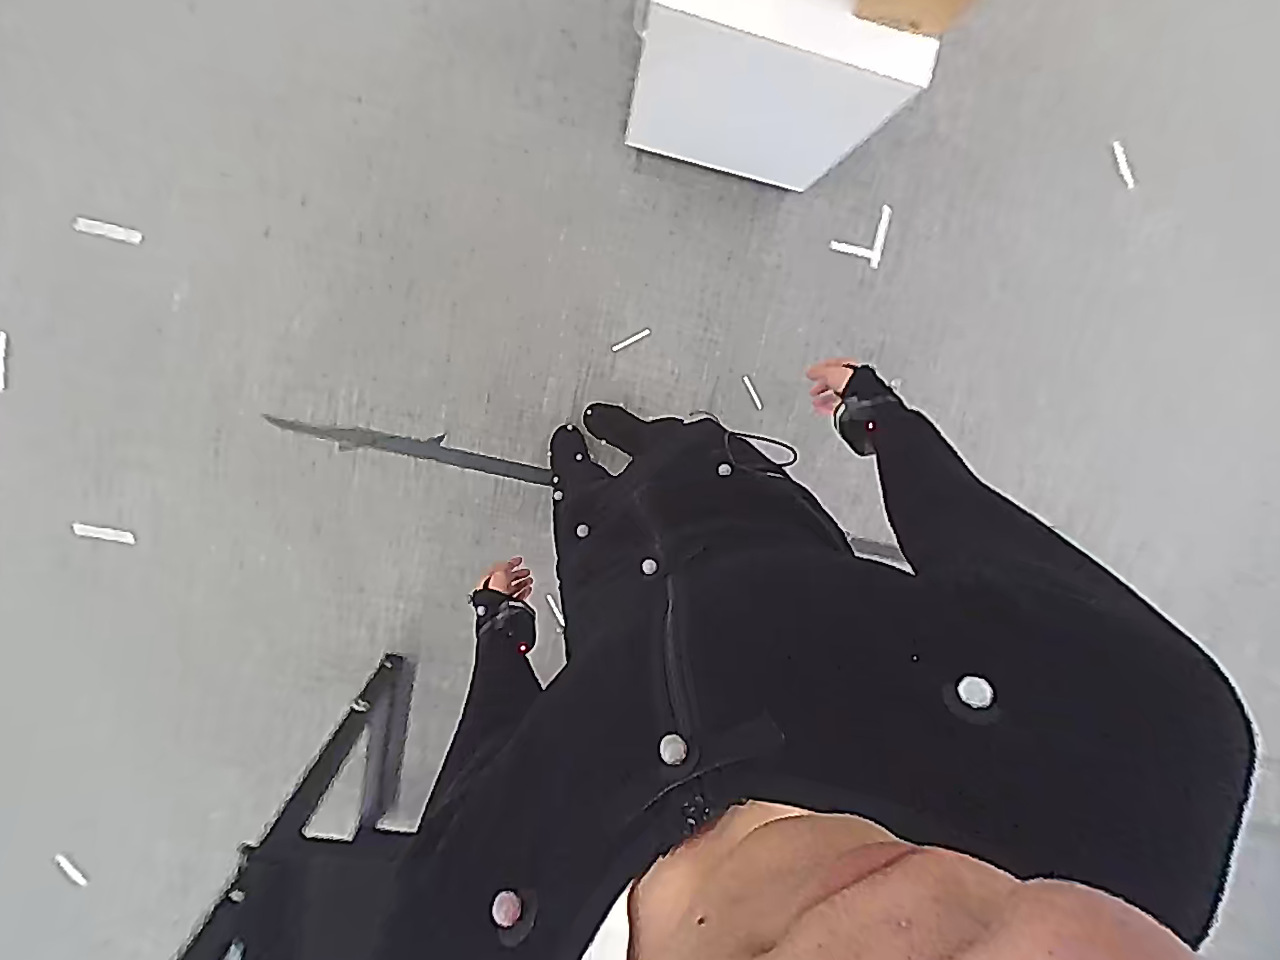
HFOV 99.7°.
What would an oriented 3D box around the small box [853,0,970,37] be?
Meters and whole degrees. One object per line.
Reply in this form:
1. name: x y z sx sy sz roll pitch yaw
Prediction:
1. small box: 0.460 -0.858 0.848 0.168 0.176 0.179 8 99 -6
